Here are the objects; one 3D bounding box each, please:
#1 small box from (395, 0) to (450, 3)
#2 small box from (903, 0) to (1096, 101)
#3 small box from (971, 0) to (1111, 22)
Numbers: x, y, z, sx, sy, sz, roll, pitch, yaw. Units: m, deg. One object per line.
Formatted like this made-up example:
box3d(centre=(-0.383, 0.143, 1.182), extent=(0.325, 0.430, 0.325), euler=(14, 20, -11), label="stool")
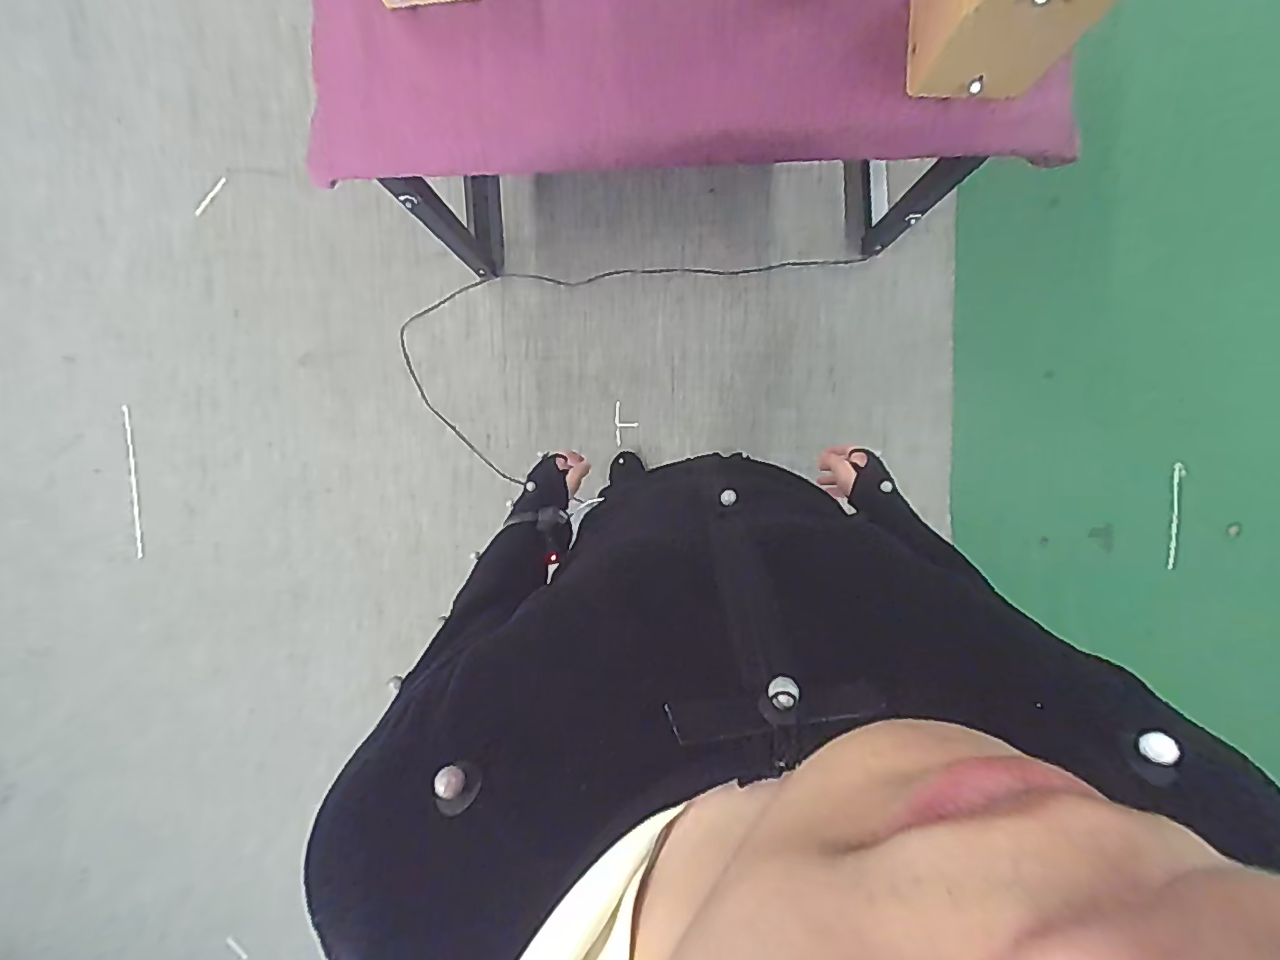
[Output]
box3d(centre=(-0.337, -0.849, 0.791), extent=(0.168, 0.176, 0.179), euler=(-5, 92, 1), label="small box")
box3d(centre=(0.507, -0.679, 0.775), extent=(0.179, 0.176, 0.168), euler=(2, 92, 2), label="small box")
box3d(centre=(0.503, -0.676, 0.612), extent=(0.168, 0.176, 0.179), euler=(2, 92, 4), label="small box")
